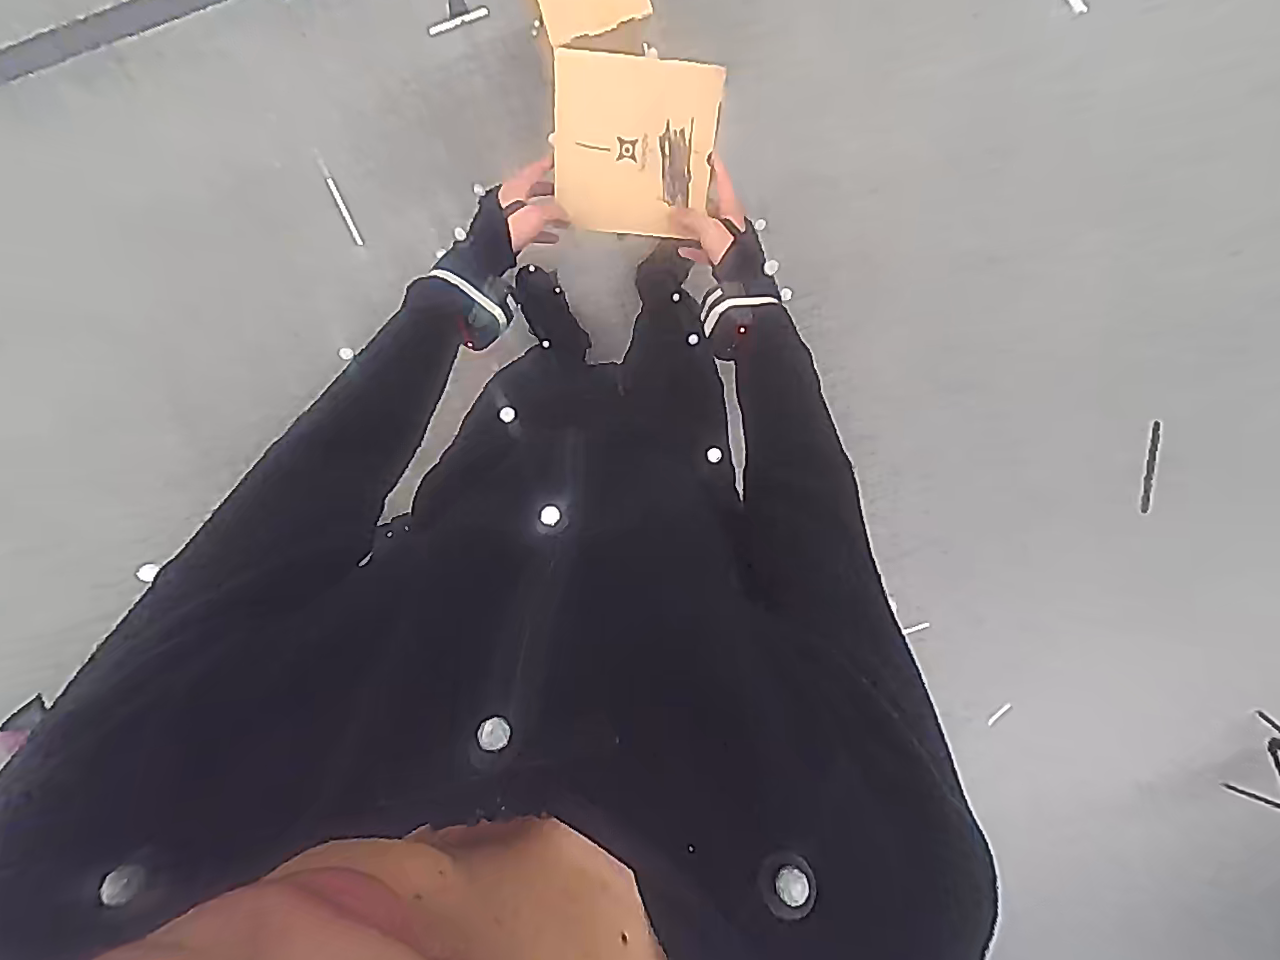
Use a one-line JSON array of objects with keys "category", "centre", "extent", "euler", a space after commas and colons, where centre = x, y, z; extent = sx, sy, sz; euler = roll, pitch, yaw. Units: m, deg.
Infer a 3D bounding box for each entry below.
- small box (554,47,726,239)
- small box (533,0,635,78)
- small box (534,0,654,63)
[{"category": "small box", "centre": [-0.008, -0.397, 0.651], "extent": [0.179, 0.176, 0.168], "euler": [3, 120, -4]}, {"category": "small box", "centre": [-0.120, -0.938, 1.151], "extent": [0.168, 0.176, 0.179], "euler": [-21, 118, 3]}, {"category": "small box", "centre": [-0.089, -0.795, 0.858], "extent": [0.168, 0.176, 0.179], "euler": [-18, 118, 1]}]
